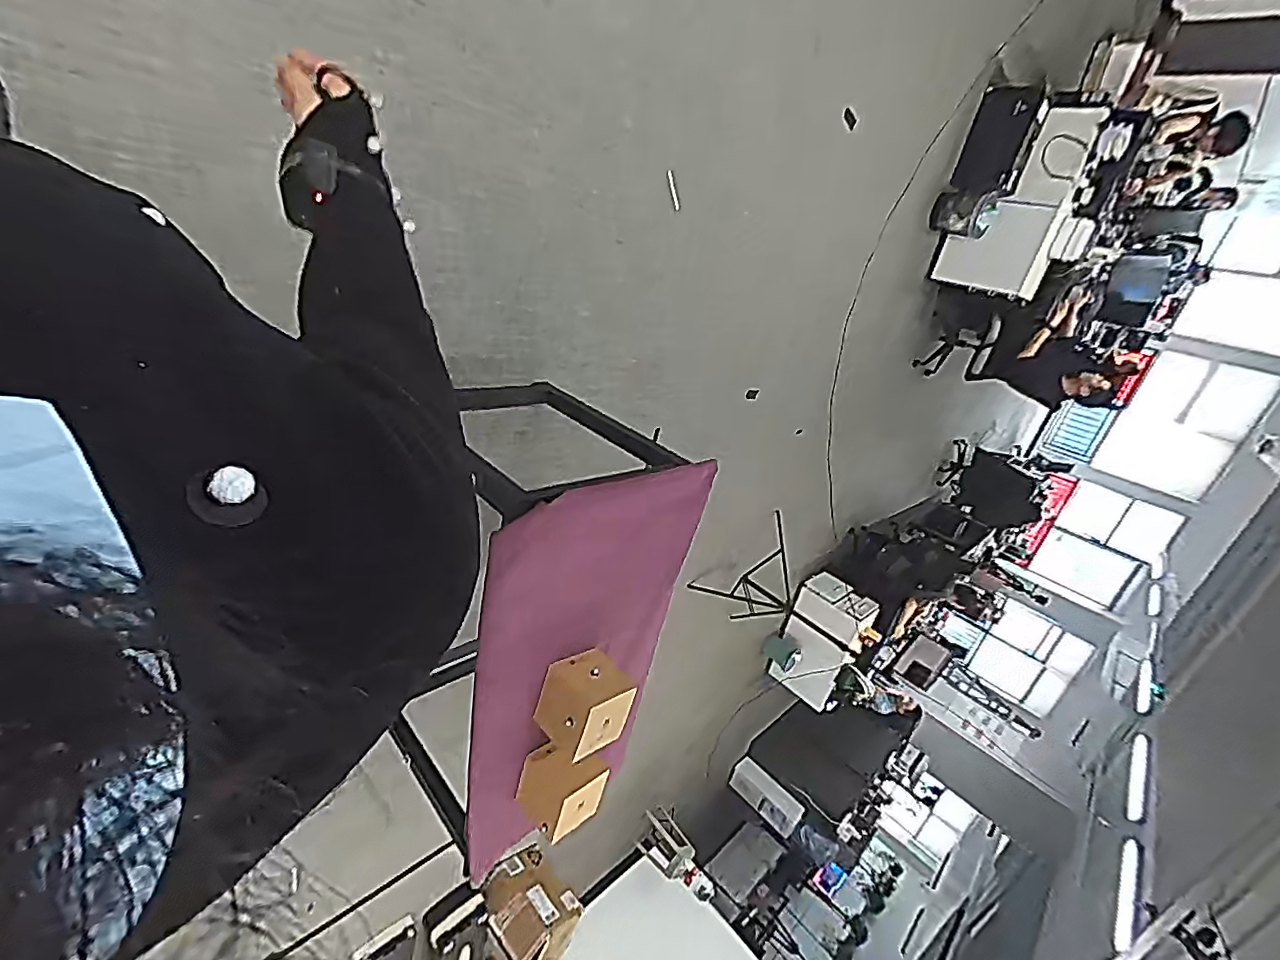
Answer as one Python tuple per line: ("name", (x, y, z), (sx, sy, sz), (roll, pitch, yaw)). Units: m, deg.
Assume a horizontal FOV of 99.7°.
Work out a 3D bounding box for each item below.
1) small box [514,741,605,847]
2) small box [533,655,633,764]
("small box", (-0.226, 0.839, 1.484), (0.168, 0.176, 0.179), (-8, 121, -48))
("small box", (-0.150, 0.570, 1.378), (0.168, 0.176, 0.179), (-1, 116, -49))
